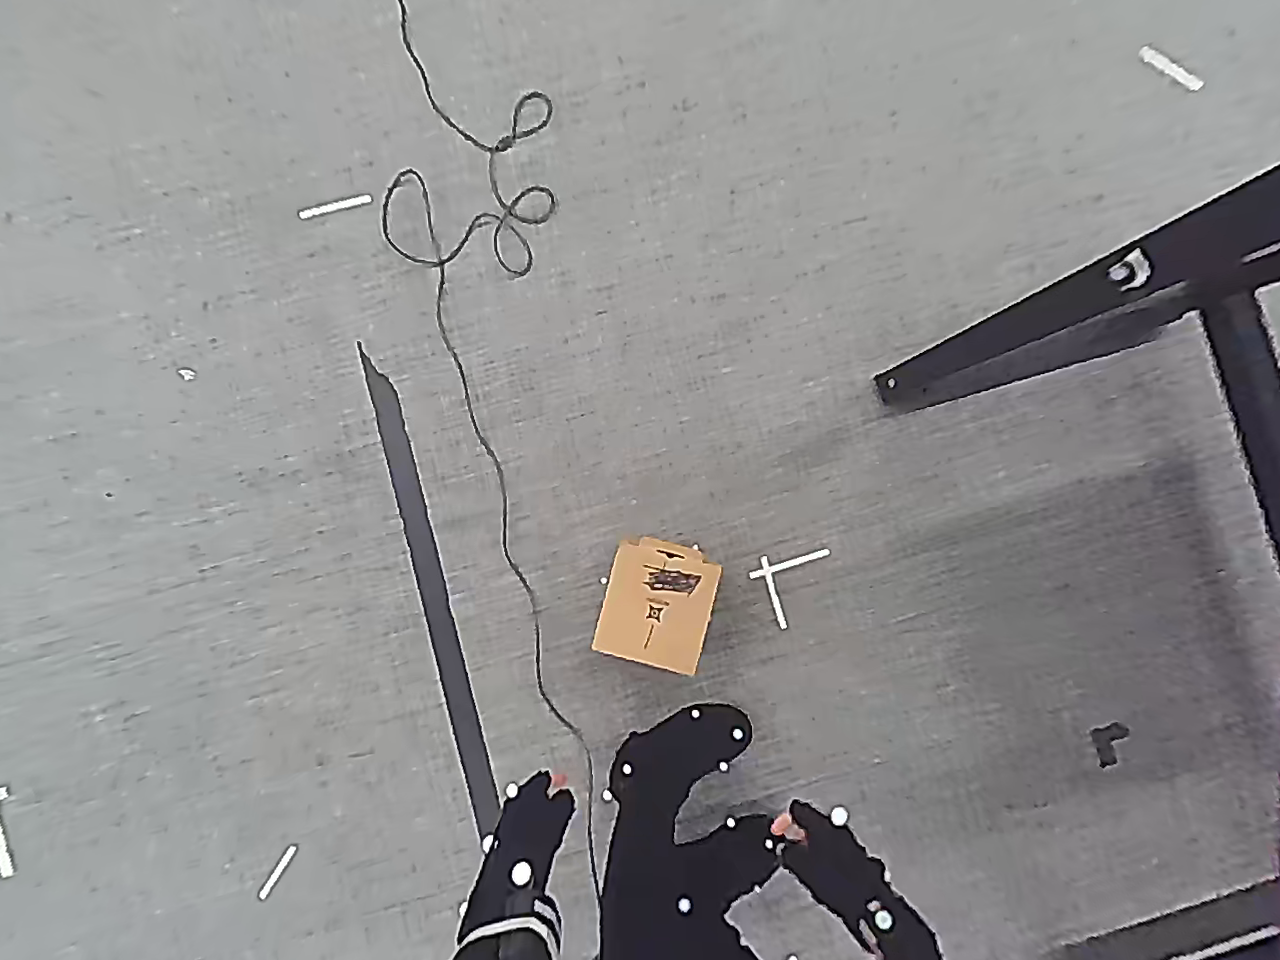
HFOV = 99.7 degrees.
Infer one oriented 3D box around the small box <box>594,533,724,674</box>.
[{"bbox_3d":[0.028,0.193,0.900,0.168,0.176,0.179,15,88,1],"label":"small box"}]
